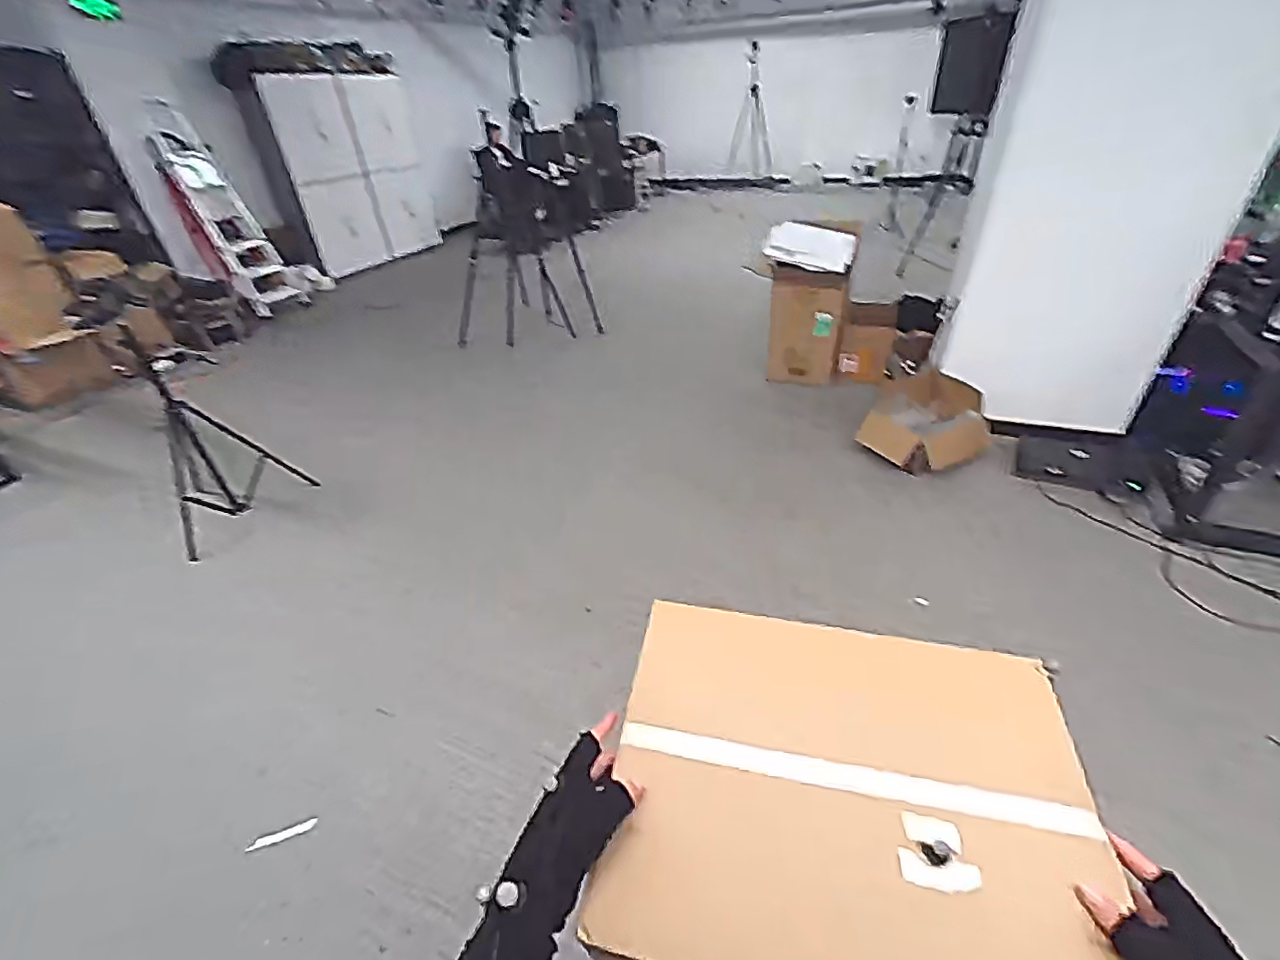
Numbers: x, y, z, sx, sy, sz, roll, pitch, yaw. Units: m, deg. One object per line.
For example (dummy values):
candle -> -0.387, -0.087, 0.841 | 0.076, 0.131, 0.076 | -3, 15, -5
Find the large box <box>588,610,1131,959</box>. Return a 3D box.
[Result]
large box -> 0.184, 0.381, 0.589 | 0.408, 0.320, 0.320 | 6, 43, 10
